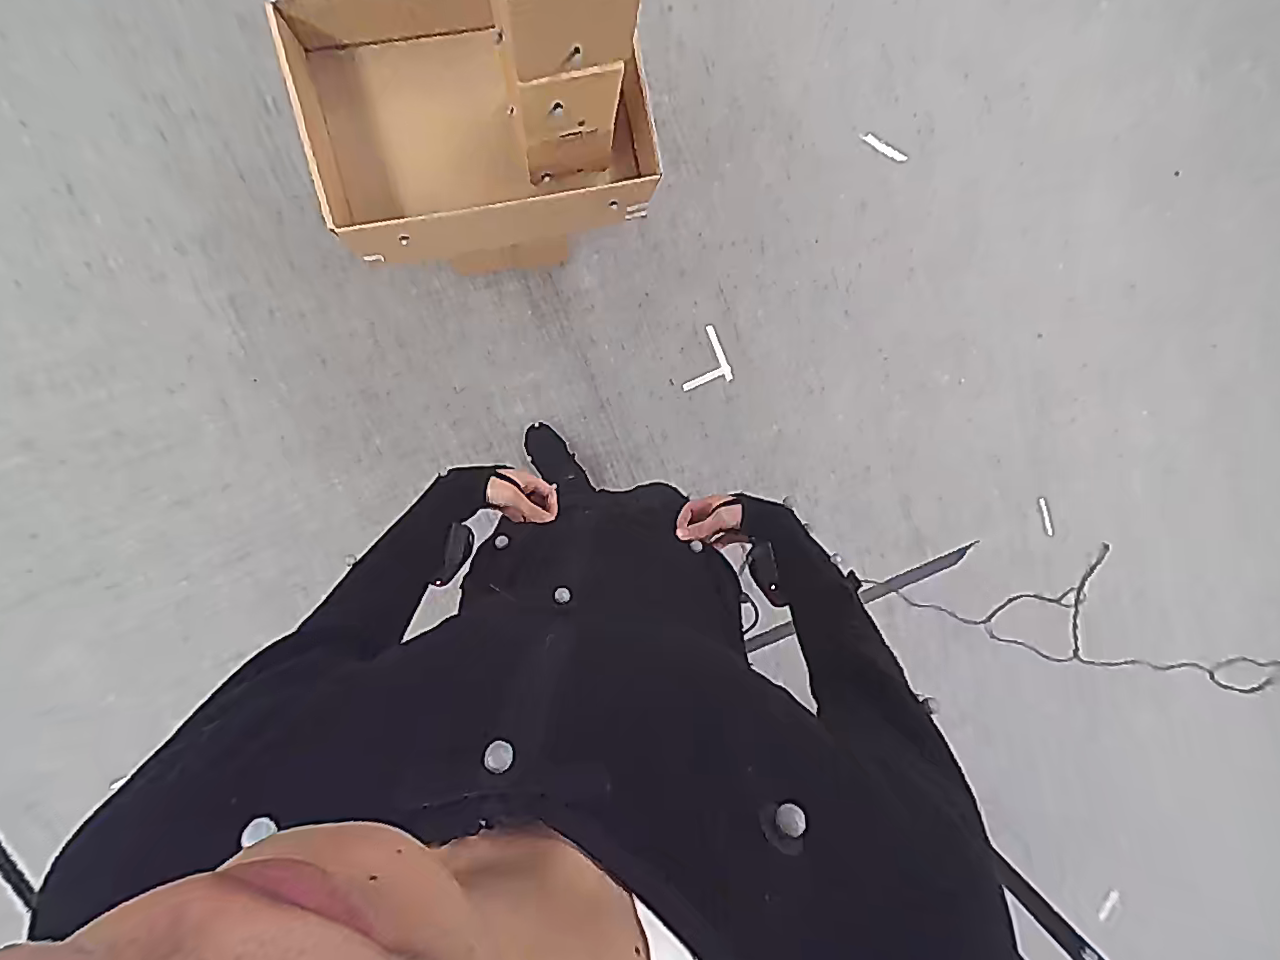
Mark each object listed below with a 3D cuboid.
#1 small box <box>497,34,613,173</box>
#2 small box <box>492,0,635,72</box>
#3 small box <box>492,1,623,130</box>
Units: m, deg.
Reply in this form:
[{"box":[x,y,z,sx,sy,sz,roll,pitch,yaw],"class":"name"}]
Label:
[{"box":[-0.154,-0.704,1.014,0.168,0.176,0.179,-16,98,-6],"class":"small box"},{"box":[-0.107,-0.672,0.692,0.179,0.176,0.168,-17,98,-6],"class":"small box"},{"box":[-0.131,-0.687,0.854,0.168,0.176,0.179,-16,98,-6],"class":"small box"}]
